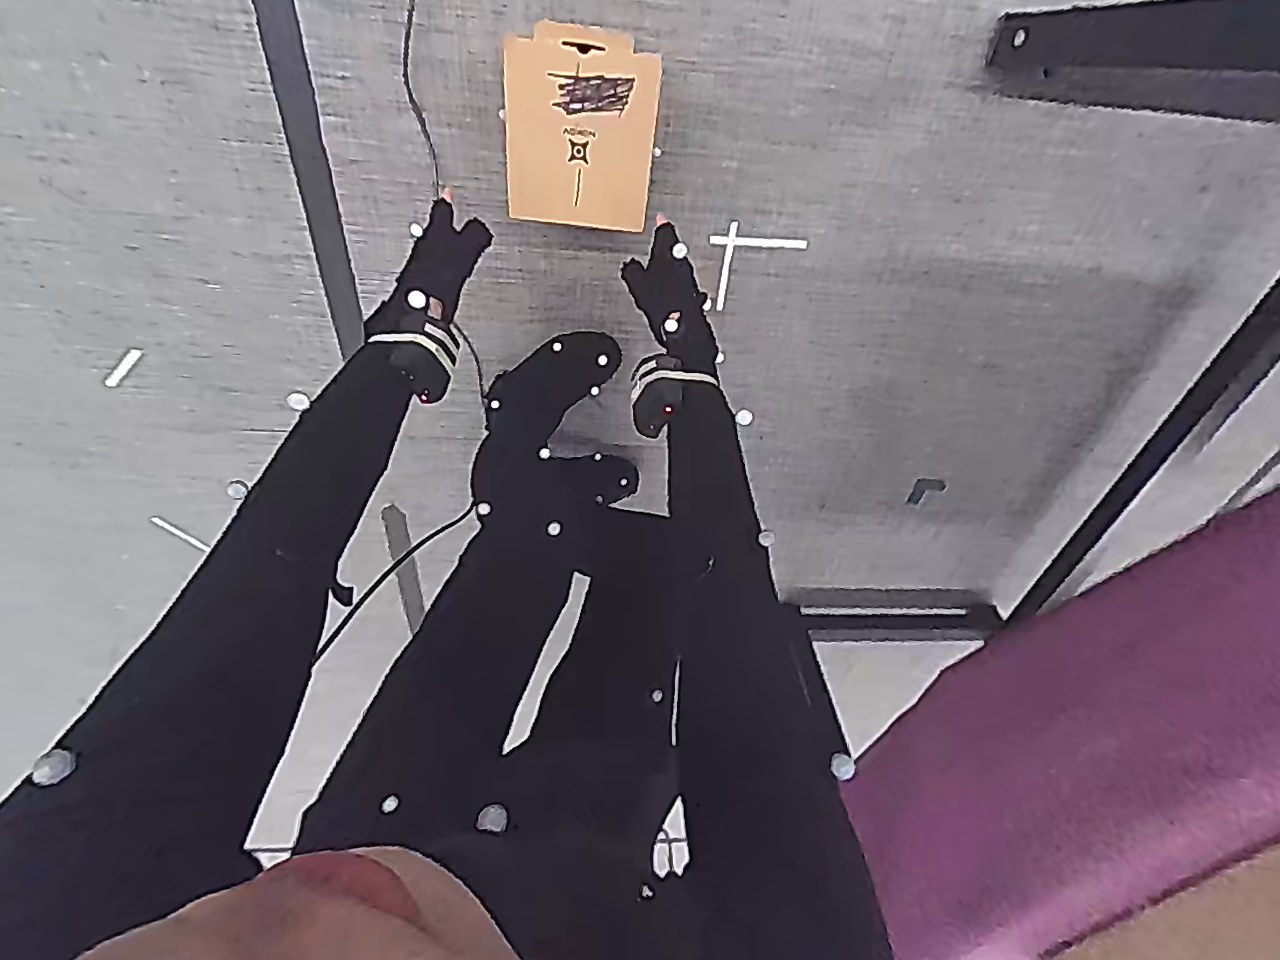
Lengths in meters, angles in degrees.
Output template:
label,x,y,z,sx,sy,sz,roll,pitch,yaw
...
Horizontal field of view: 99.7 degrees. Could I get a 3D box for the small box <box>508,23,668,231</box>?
label,x,y,z,sx,sy,sz,roll,pitch,yaw
small box,-0.068,-0.424,0.657,0.168,0.176,0.179,4,127,-7
